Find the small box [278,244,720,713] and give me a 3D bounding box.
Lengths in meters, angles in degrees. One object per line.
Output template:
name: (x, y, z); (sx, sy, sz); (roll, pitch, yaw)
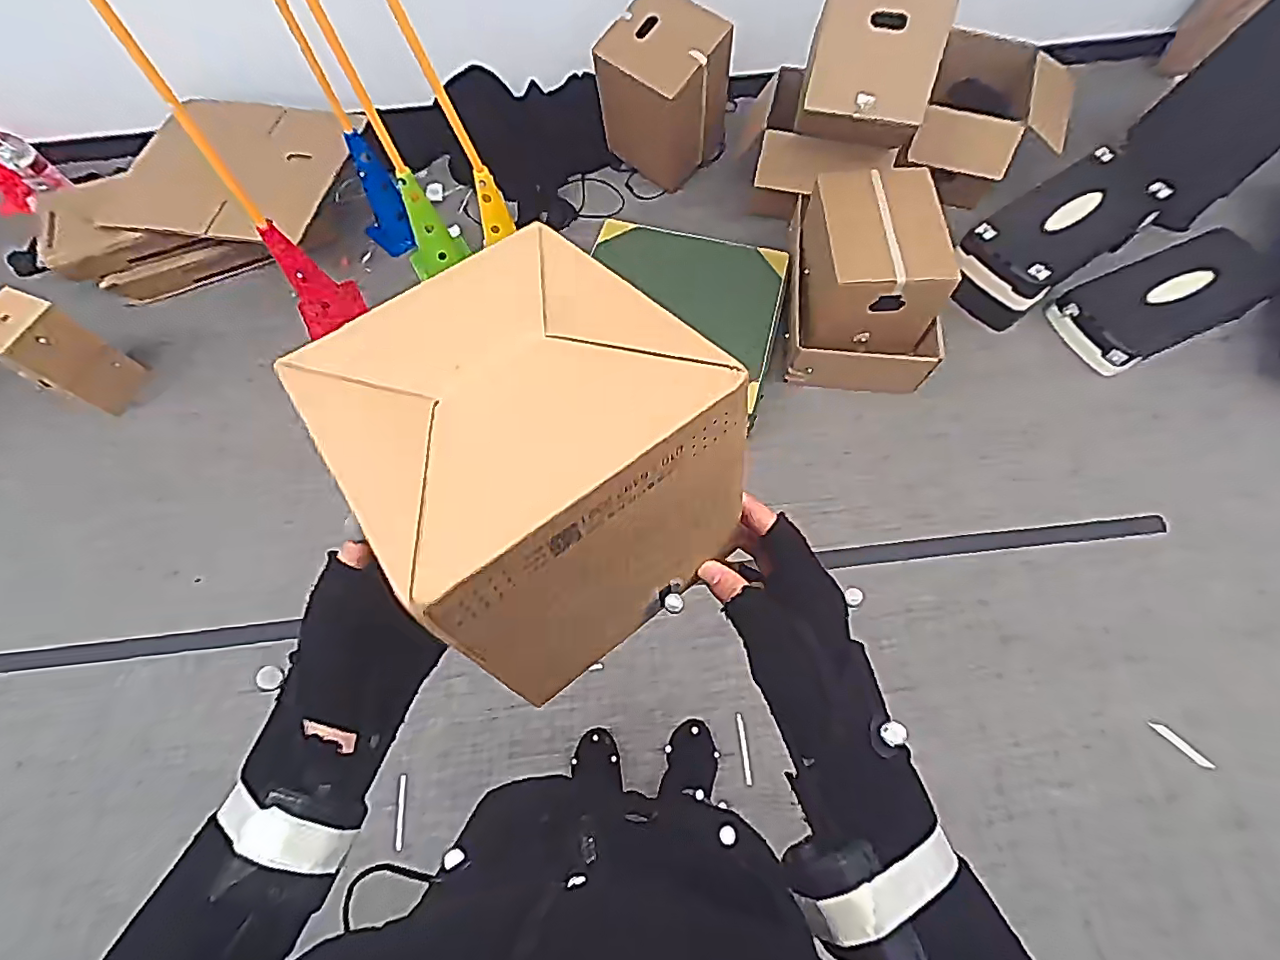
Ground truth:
small box: (-0.067, -0.003, 0.315); (0.168, 0.176, 0.179); (-34, 59, -13)
